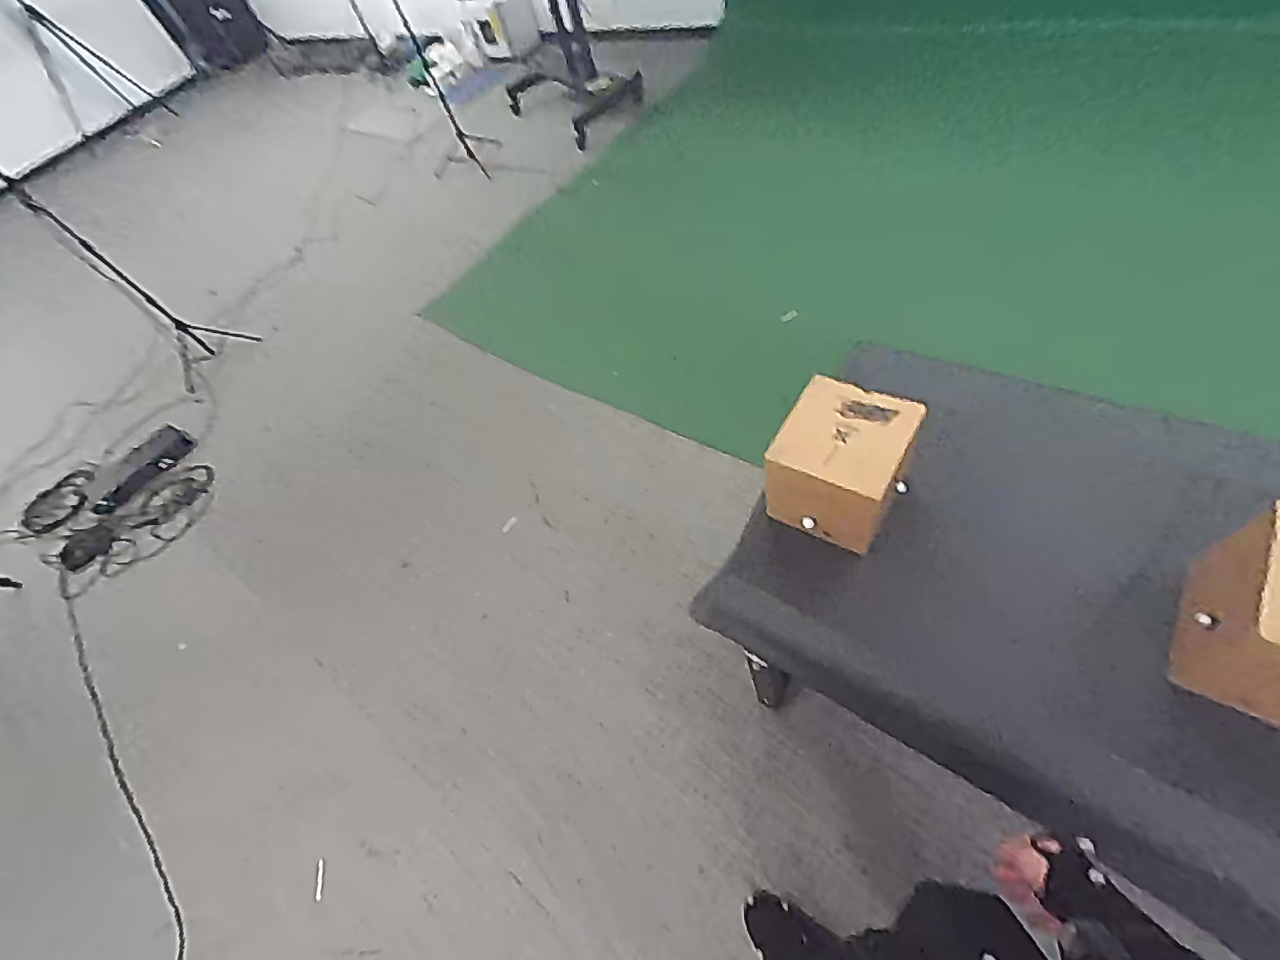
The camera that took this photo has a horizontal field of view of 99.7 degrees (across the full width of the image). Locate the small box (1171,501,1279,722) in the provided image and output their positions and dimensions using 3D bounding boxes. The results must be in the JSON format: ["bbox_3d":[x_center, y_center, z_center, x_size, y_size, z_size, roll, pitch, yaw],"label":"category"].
[{"bbox_3d":[0.723,0.159,0.576,0.168,0.176,0.179,24,65,27],"label":"small box"}]

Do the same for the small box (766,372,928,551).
[{"bbox_3d":[0.303,-0.026,0.816,0.168,0.176,0.179,25,66,28],"label":"small box"}]
